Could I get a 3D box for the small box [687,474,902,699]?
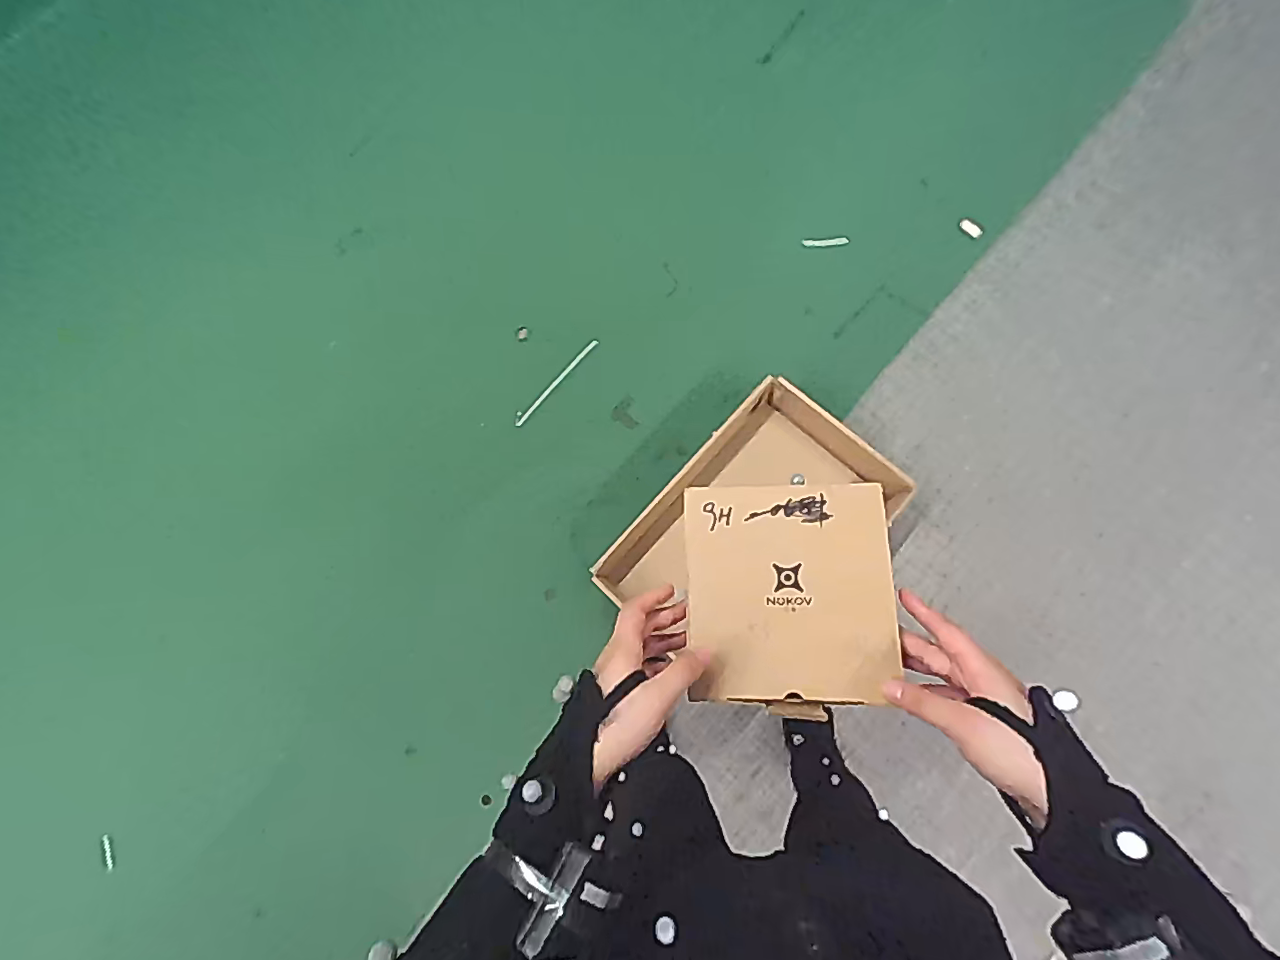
[{"bbox_3d":[0.131,0.098,0.513,0.168,0.176,0.179,1,76,6],"label":"small box"}]
